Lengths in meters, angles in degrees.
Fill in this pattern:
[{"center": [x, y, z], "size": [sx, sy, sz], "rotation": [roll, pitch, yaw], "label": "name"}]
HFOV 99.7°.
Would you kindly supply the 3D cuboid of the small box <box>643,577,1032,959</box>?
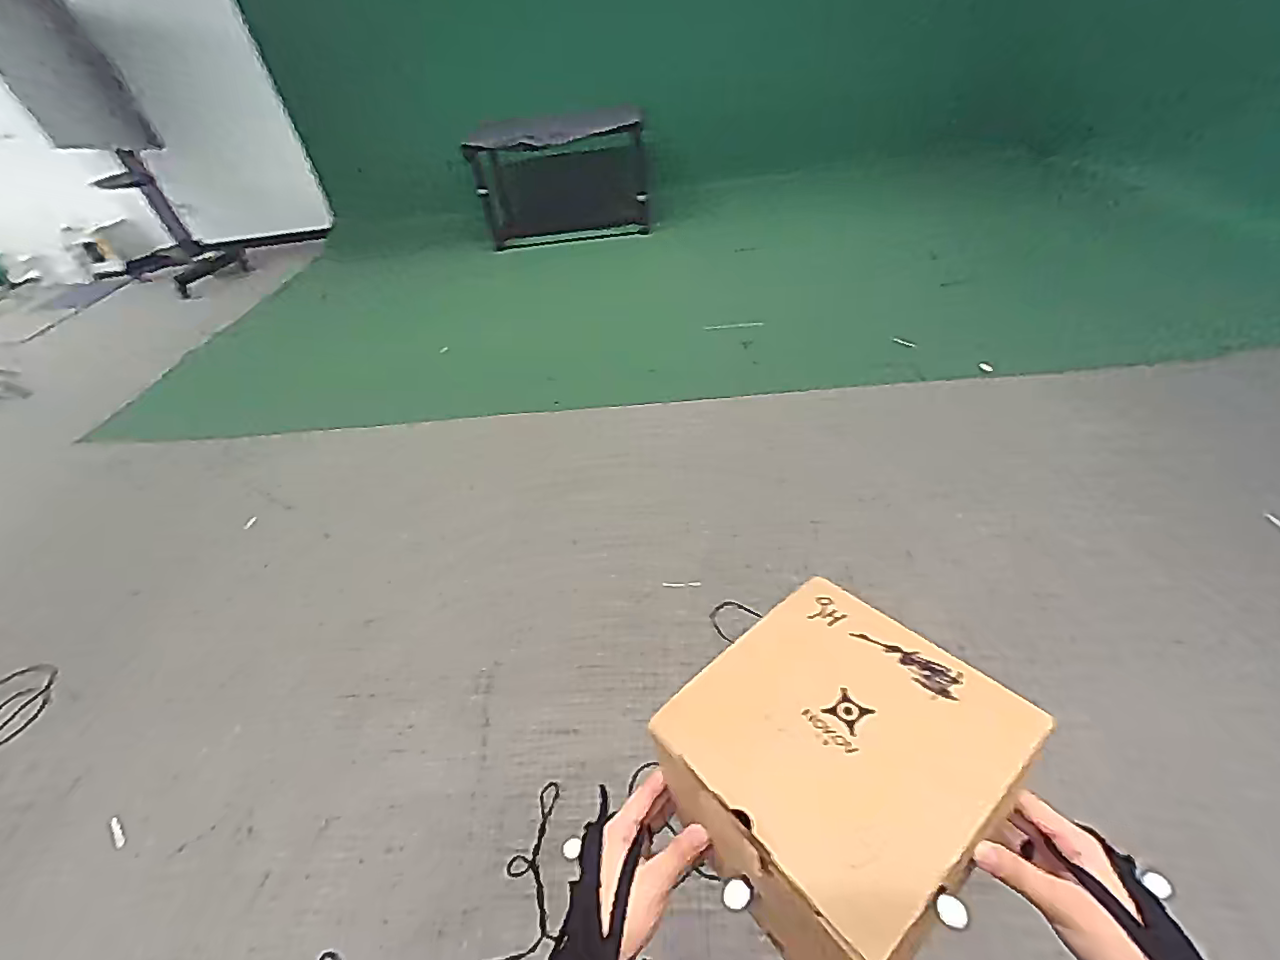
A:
[{"center": [0.130, 0.211, 0.382], "size": [0.179, 0.176, 0.168], "rotation": [-32, 40, -23], "label": "small box"}]
